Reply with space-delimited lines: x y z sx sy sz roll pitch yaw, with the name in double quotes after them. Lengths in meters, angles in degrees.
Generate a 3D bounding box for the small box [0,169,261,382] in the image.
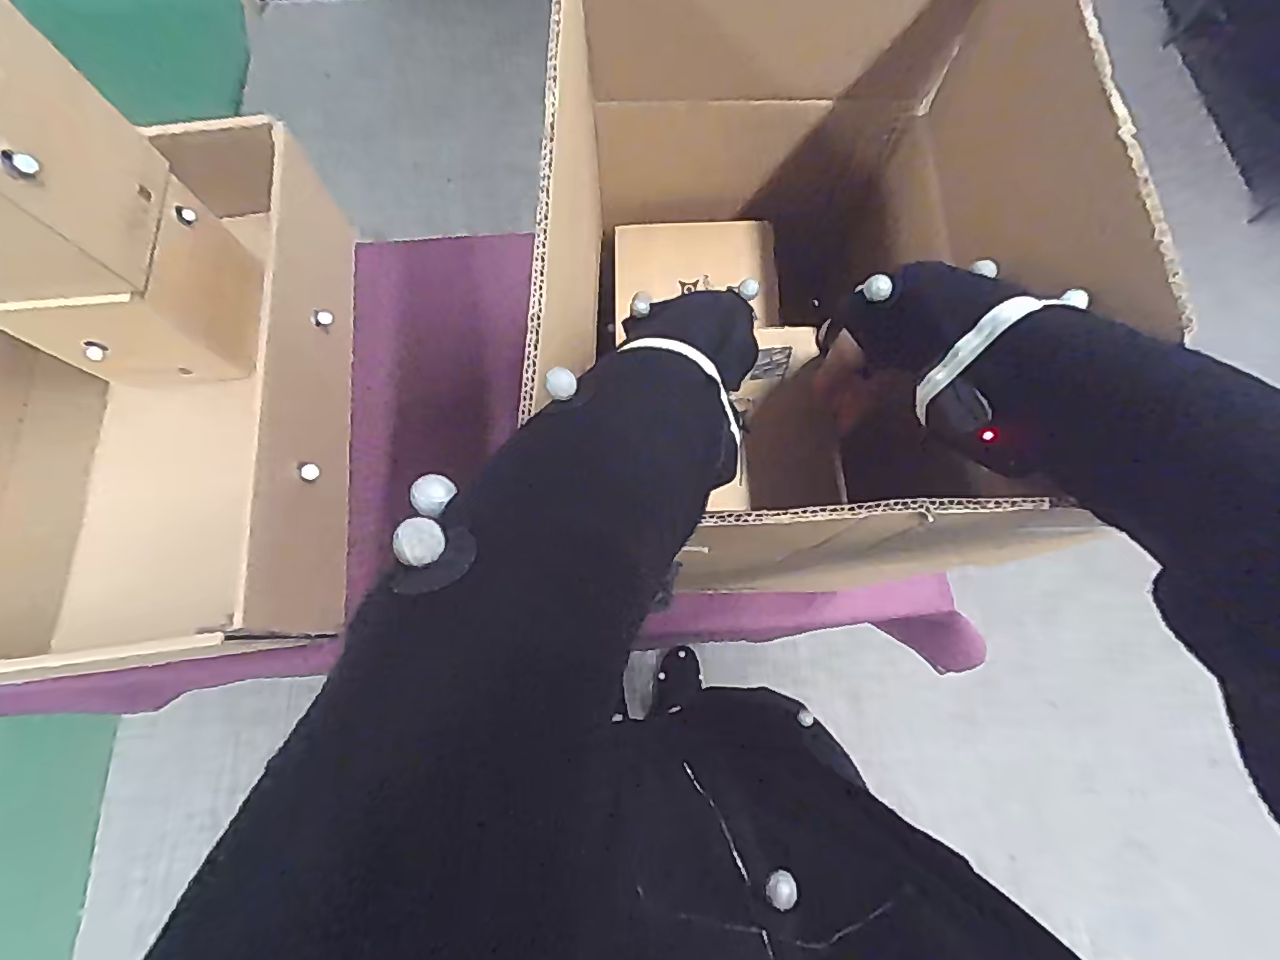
-0.590 -0.226 0.640 0.168 0.176 0.179 -5 73 0 "small box"
